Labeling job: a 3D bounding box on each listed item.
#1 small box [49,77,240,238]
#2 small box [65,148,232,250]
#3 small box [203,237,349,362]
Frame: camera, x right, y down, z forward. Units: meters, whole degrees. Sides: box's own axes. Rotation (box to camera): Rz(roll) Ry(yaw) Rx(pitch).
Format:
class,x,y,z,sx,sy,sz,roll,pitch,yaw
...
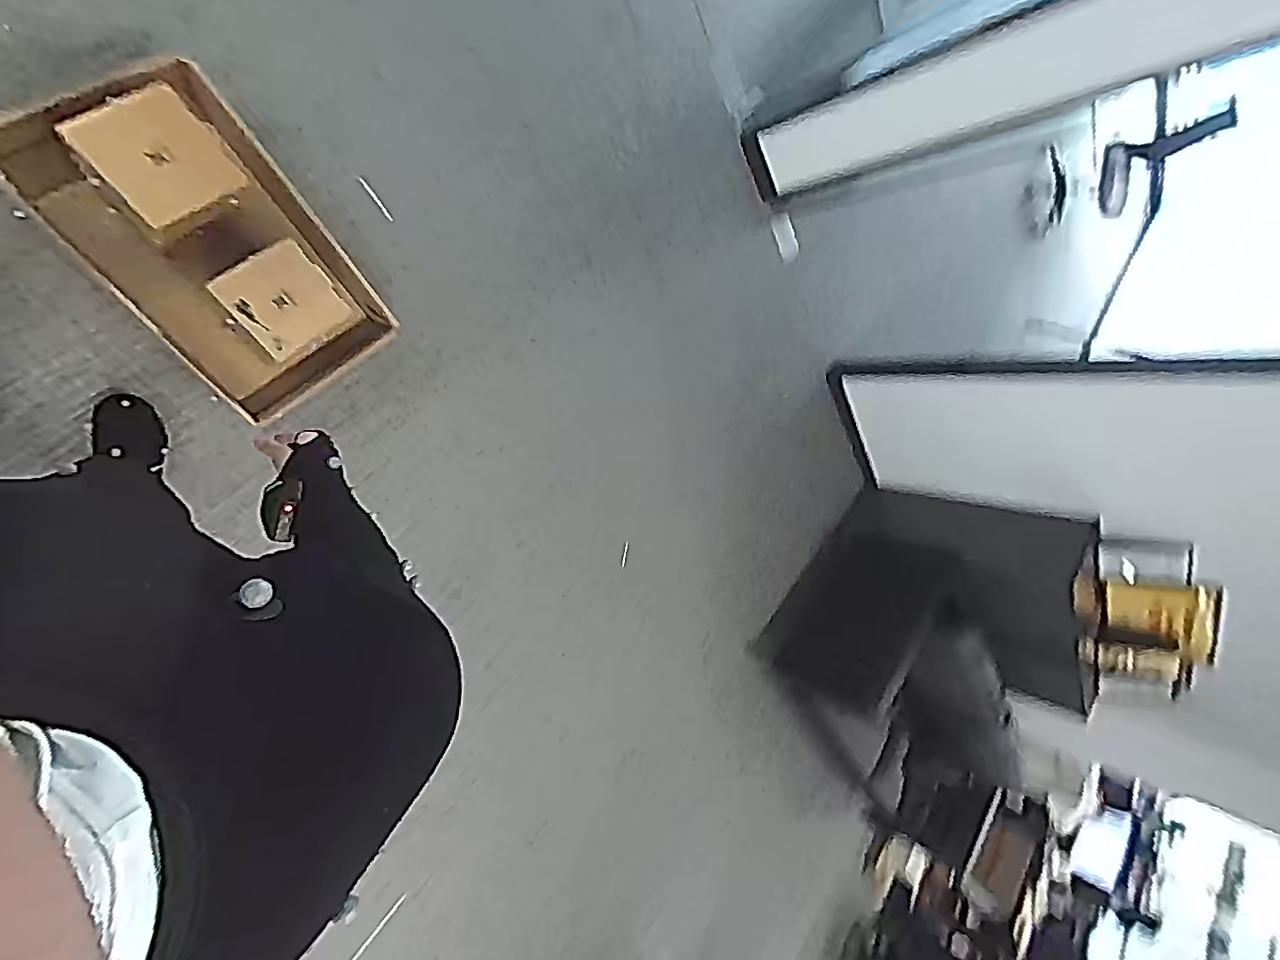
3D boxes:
class,x,y,z,sx,sy,sz,roll,pitch,yaw
small box,-0.843,-0.547,0.941,0.179,0.176,0.168,-47,125,-23
small box,-0.949,-0.576,1.061,0.179,0.176,0.168,-47,126,-24
small box,-0.727,-0.352,1.078,0.179,0.176,0.168,-47,123,-24
